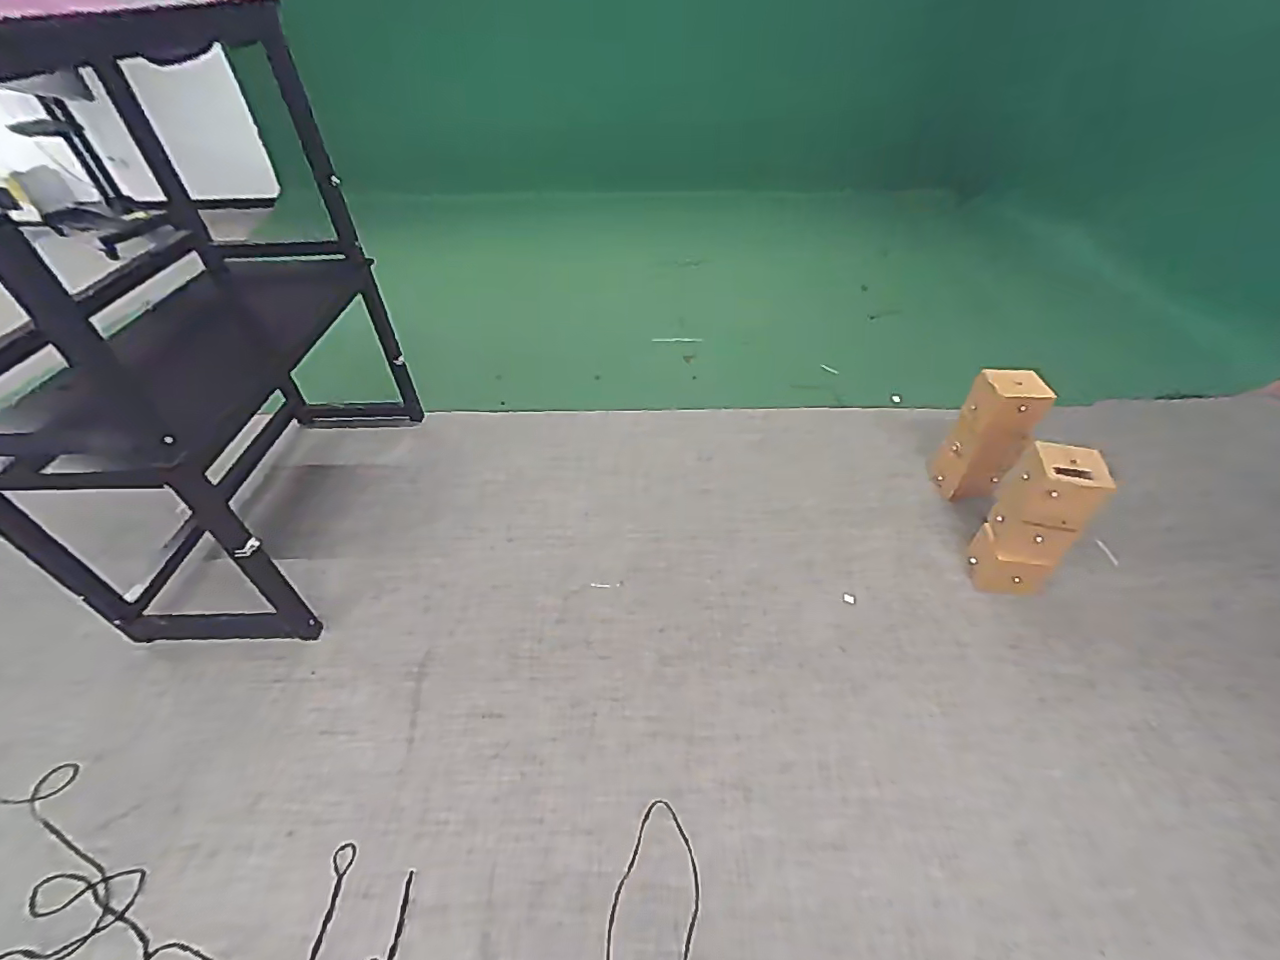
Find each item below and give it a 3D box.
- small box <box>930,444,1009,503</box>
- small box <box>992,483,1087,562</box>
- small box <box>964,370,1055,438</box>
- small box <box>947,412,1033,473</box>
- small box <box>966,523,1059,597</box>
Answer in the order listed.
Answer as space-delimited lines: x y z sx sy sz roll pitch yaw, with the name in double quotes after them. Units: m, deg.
1.262 -0.026 2.083 0.179 0.176 0.168 -3 43 -2 "small box"
1.224 0.135 1.676 0.179 0.176 0.168 9 44 11 "small box"
1.260 -0.258 1.857 0.179 0.176 0.168 2 43 2 "small box"
1.265 -0.140 1.969 0.179 0.176 0.168 -3 43 -2 "small box"
1.213 0.266 1.774 0.179 0.176 0.168 6 43 8 "small box"
